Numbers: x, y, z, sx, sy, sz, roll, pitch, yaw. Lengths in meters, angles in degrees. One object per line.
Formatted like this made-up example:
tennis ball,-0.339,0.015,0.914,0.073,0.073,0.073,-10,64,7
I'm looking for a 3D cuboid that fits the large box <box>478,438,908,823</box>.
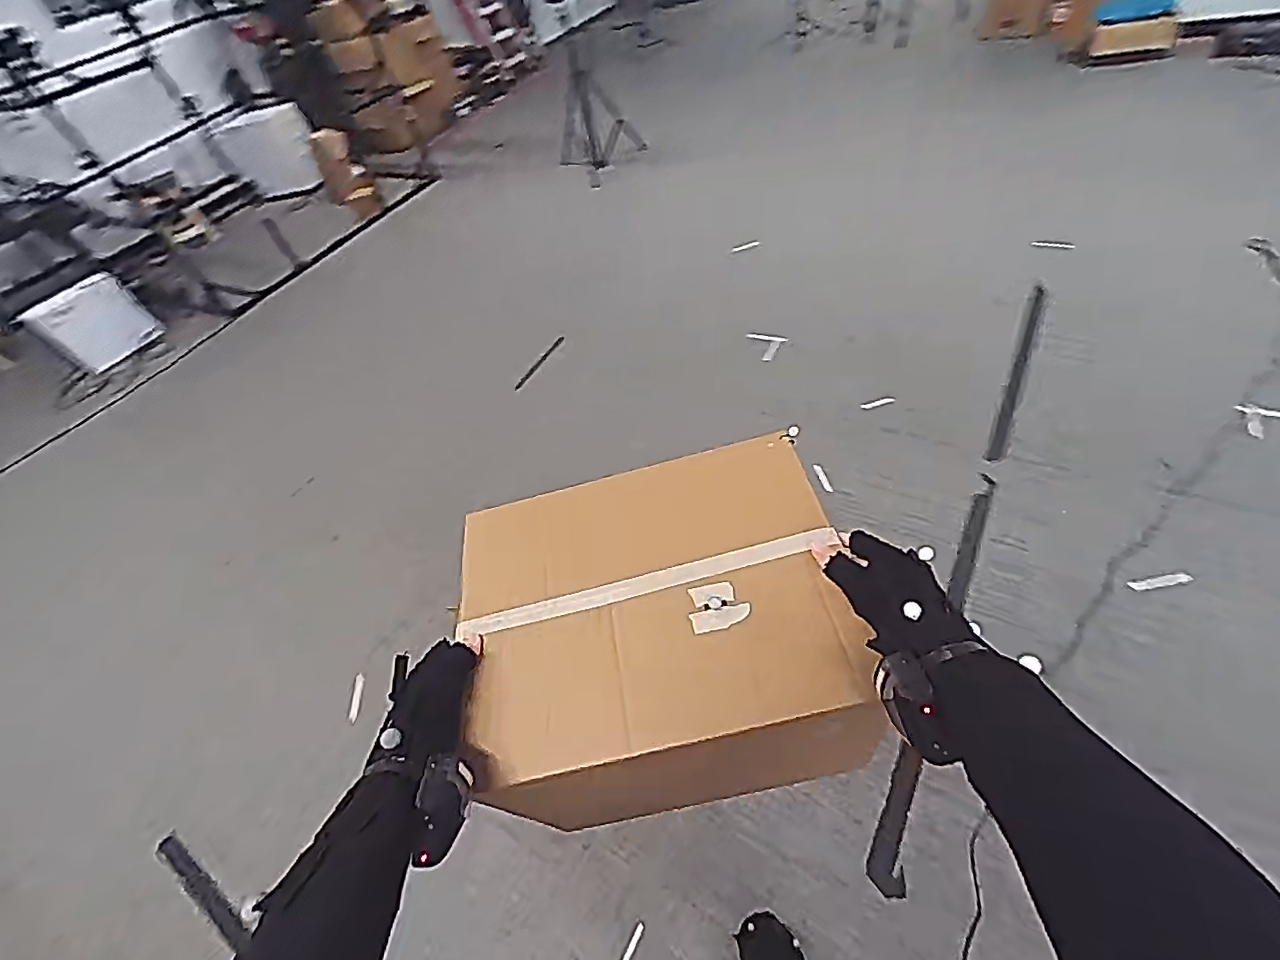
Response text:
large box,0.049,0.202,0.687,0.408,0.320,0.320,-14,51,4
